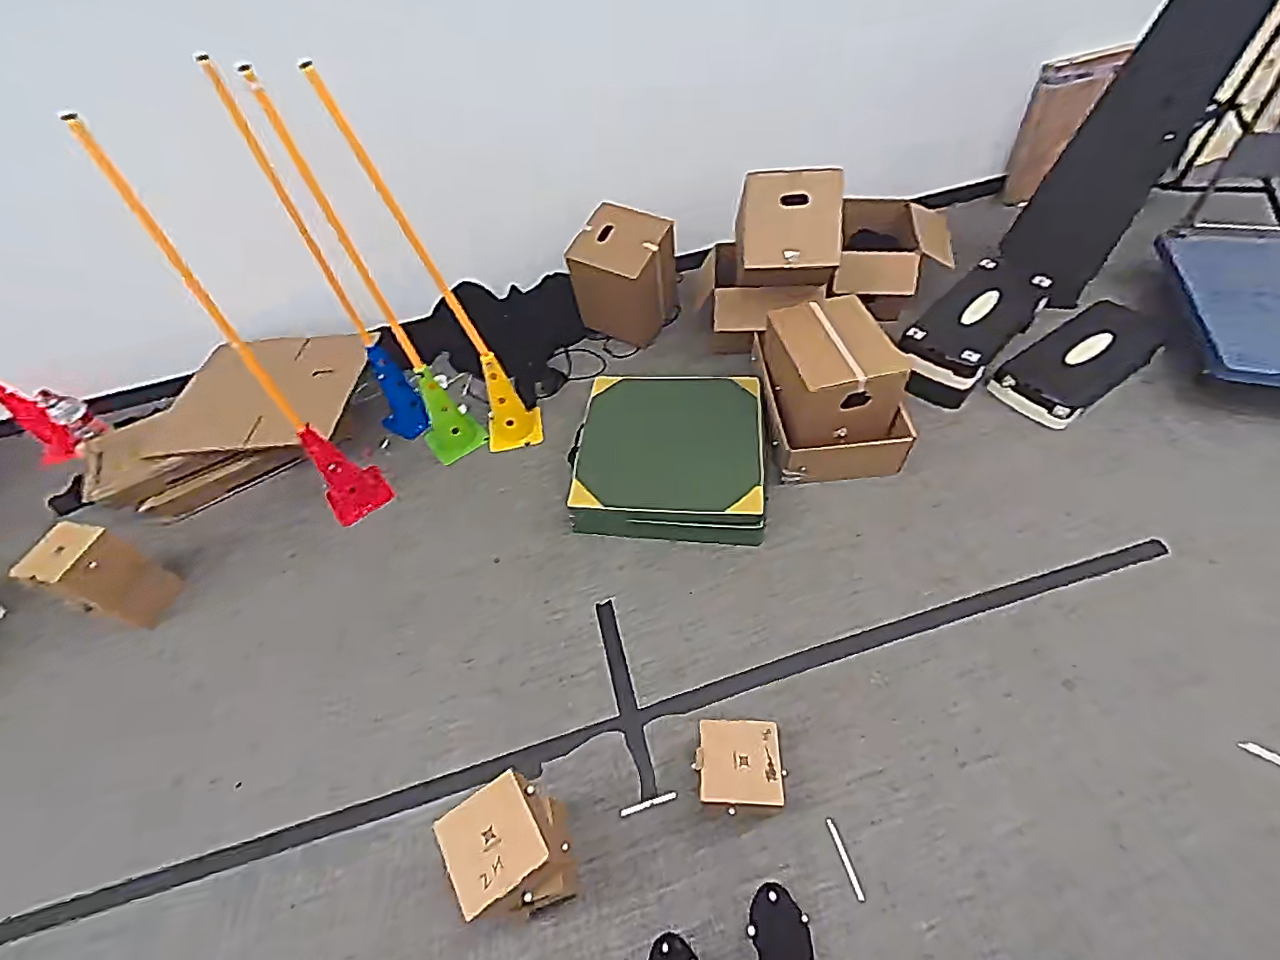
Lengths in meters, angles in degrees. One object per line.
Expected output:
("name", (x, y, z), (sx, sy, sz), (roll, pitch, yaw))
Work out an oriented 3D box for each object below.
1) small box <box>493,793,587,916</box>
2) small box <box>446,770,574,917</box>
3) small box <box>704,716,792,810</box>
("small box", (-0.223, 0.813, 1.175), (0.168, 0.176, 0.179), (-17, 51, -5))
("small box", (-0.248, 0.705, 1.052), (0.168, 0.176, 0.179), (-28, 56, -12))
("small box", (0.240, 0.652, 1.241), (0.179, 0.176, 0.168), (-2, 51, 4))
